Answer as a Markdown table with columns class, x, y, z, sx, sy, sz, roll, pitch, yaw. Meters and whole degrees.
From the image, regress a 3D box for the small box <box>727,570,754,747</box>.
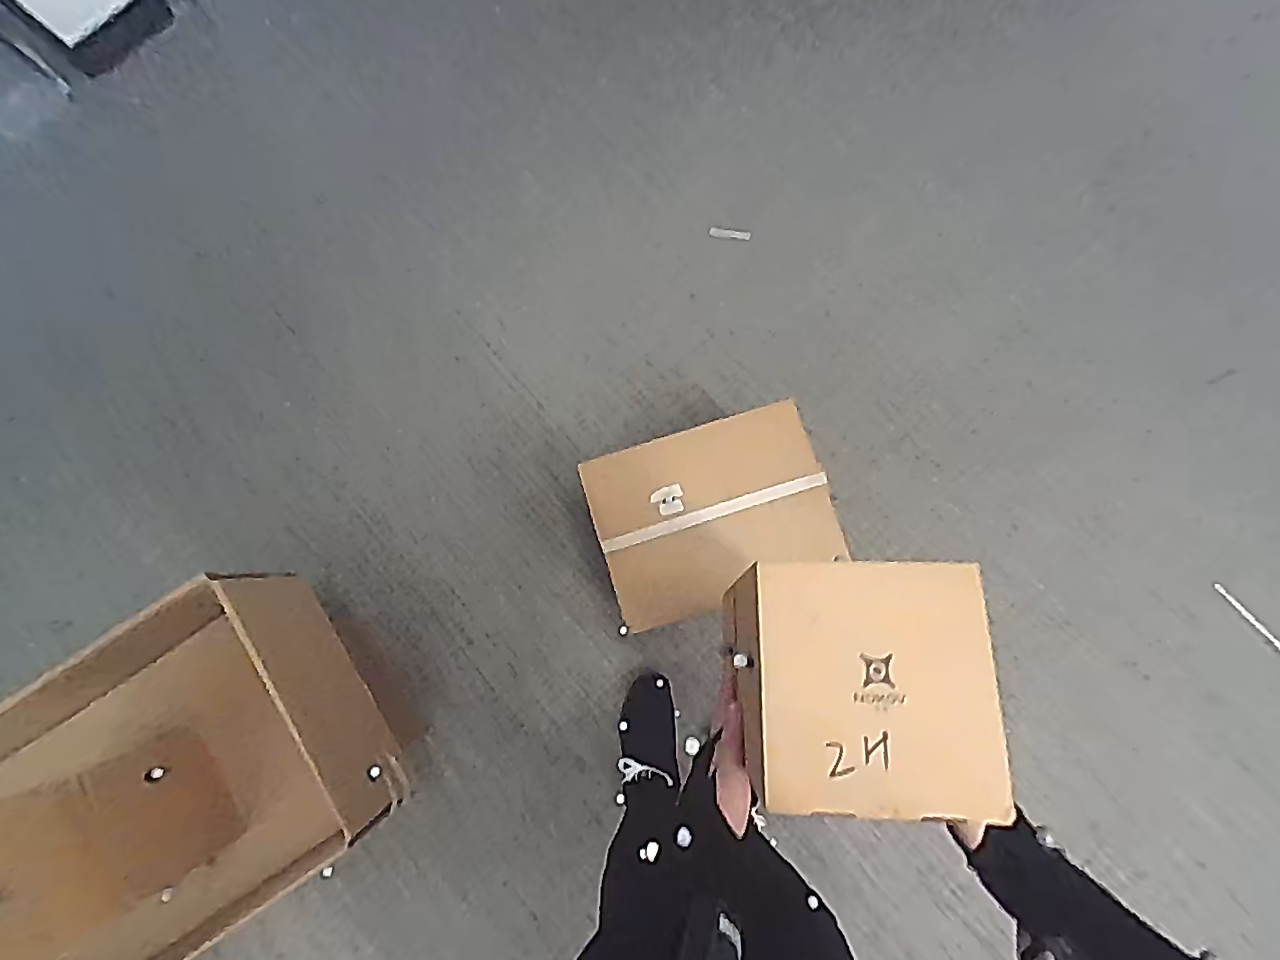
| class | x | y | z | sx | sy | sz | roll | pitch | yaw |
| --- | --- | --- | --- | --- | --- | --- | --- | --- | --- |
| small box | 0.190 | 0.203 | 0.627 | 0.168 | 0.176 | 0.179 | 1 | 75 | 5 |

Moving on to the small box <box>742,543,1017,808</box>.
| class | x | y | z | sx | sy | sz | roll | pitch | yaw |
| --- | --- | --- | --- | --- | --- | --- | --- | --- | --- |
| small box | 0.180 | 0.157 | 0.466 | 0.168 | 0.176 | 0.179 | 1 | 74 | 5 |

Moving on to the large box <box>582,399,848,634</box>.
| class | x | y | z | sx | sy | sz | roll | pitch | yaw |
| --- | --- | --- | --- | --- | --- | --- | --- | --- | --- |
| large box | 0.137 | 0.076 | 1.082 | 0.408 | 0.320 | 0.320 | -17 | 81 | 1 |
